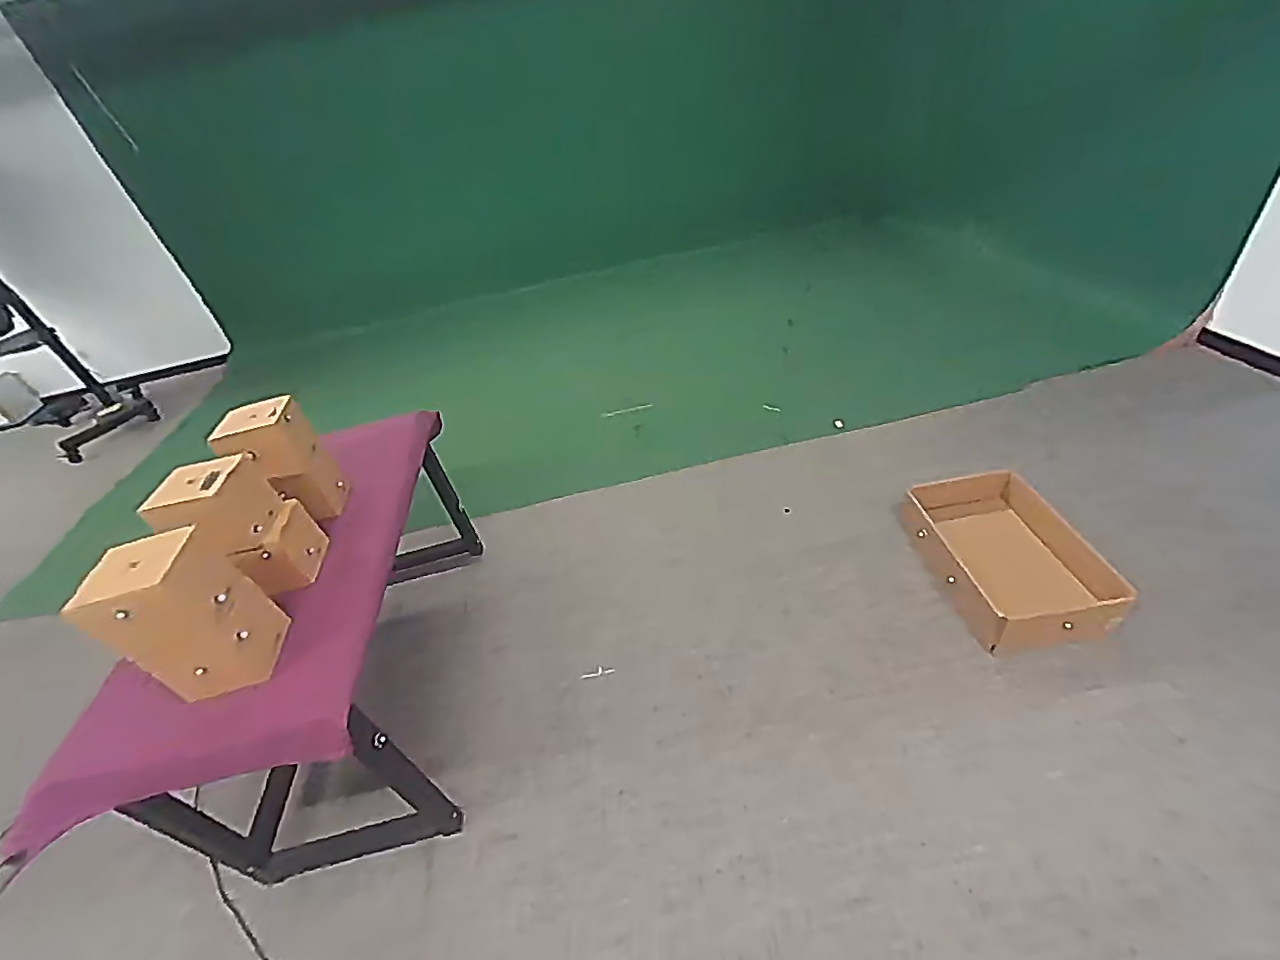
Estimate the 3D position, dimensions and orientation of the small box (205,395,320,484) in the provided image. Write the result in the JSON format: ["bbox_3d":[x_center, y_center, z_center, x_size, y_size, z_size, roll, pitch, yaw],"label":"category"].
[{"bbox_3d":[-1.034,-0.106,1.498,0.179,0.176,0.168,-17,40,-4],"label":"small box"}]

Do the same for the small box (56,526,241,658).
[{"bbox_3d":[-0.953,0.224,1.071,0.179,0.176,0.168,-16,39,-3],"label":"small box"}]

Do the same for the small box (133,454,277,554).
[{"bbox_3d":[-1.014,0.066,1.285,0.179,0.176,0.168,-12,38,0],"label":"small box"}]

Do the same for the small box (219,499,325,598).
[{"bbox_3d":[-0.958,0.180,1.393,0.179,0.176,0.168,-14,38,-3],"label":"small box"}]

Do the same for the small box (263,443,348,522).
[{"bbox_3d":[-1.005,0.019,1.599,0.179,0.176,0.168,-15,39,-4],"label":"small box"}]
